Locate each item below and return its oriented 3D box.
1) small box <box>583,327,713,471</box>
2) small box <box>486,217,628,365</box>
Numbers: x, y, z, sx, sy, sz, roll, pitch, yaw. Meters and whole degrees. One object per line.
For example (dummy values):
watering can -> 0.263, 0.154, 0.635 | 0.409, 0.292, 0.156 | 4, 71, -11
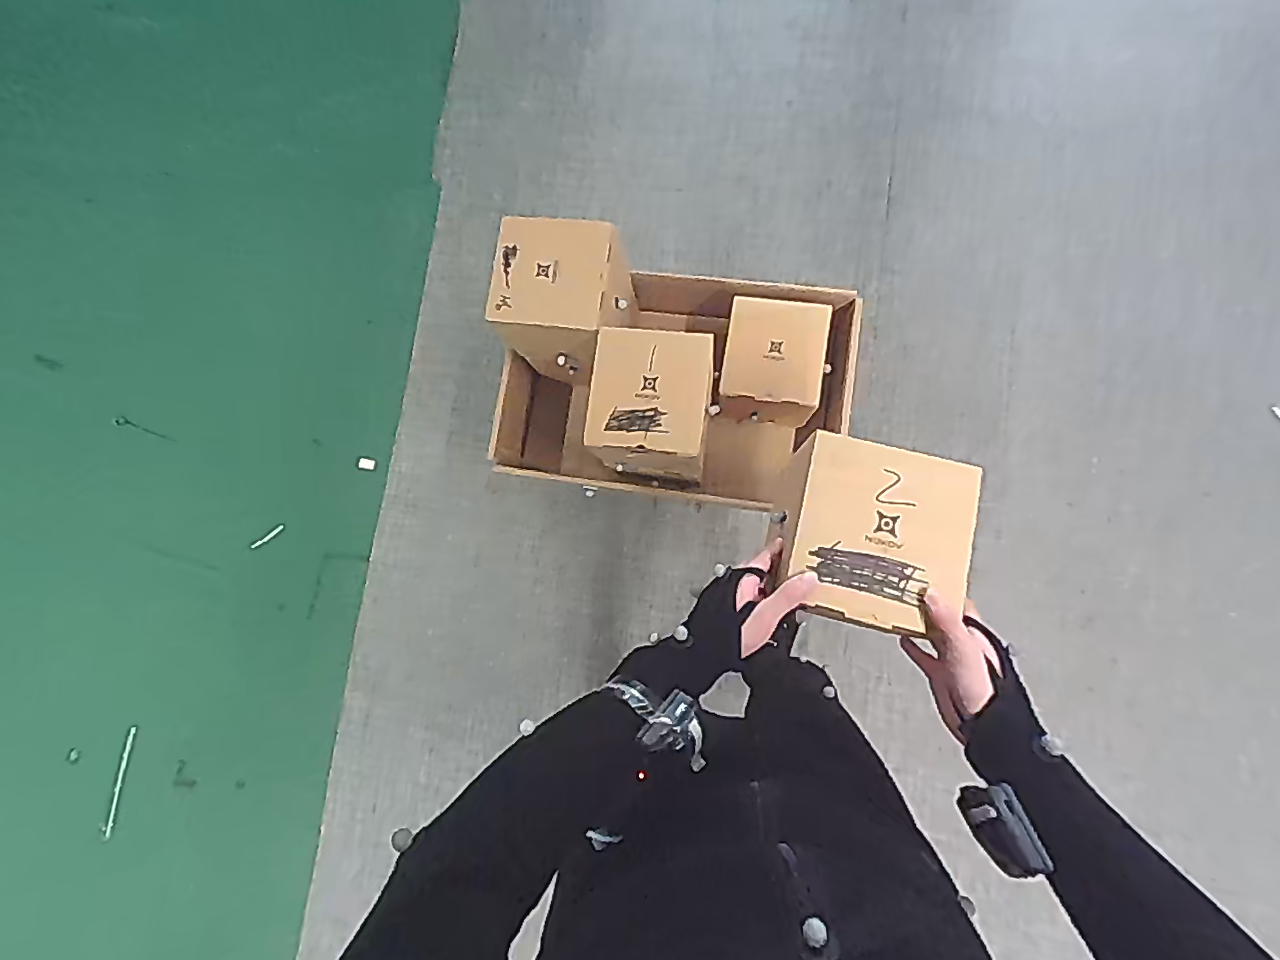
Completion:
small box -> 0.022, -0.115, 0.830 | 0.168, 0.176, 0.179 | 7, 83, 8
small box -> -0.122, -0.294, 0.874 | 0.179, 0.176, 0.168 | 8, 85, 7
